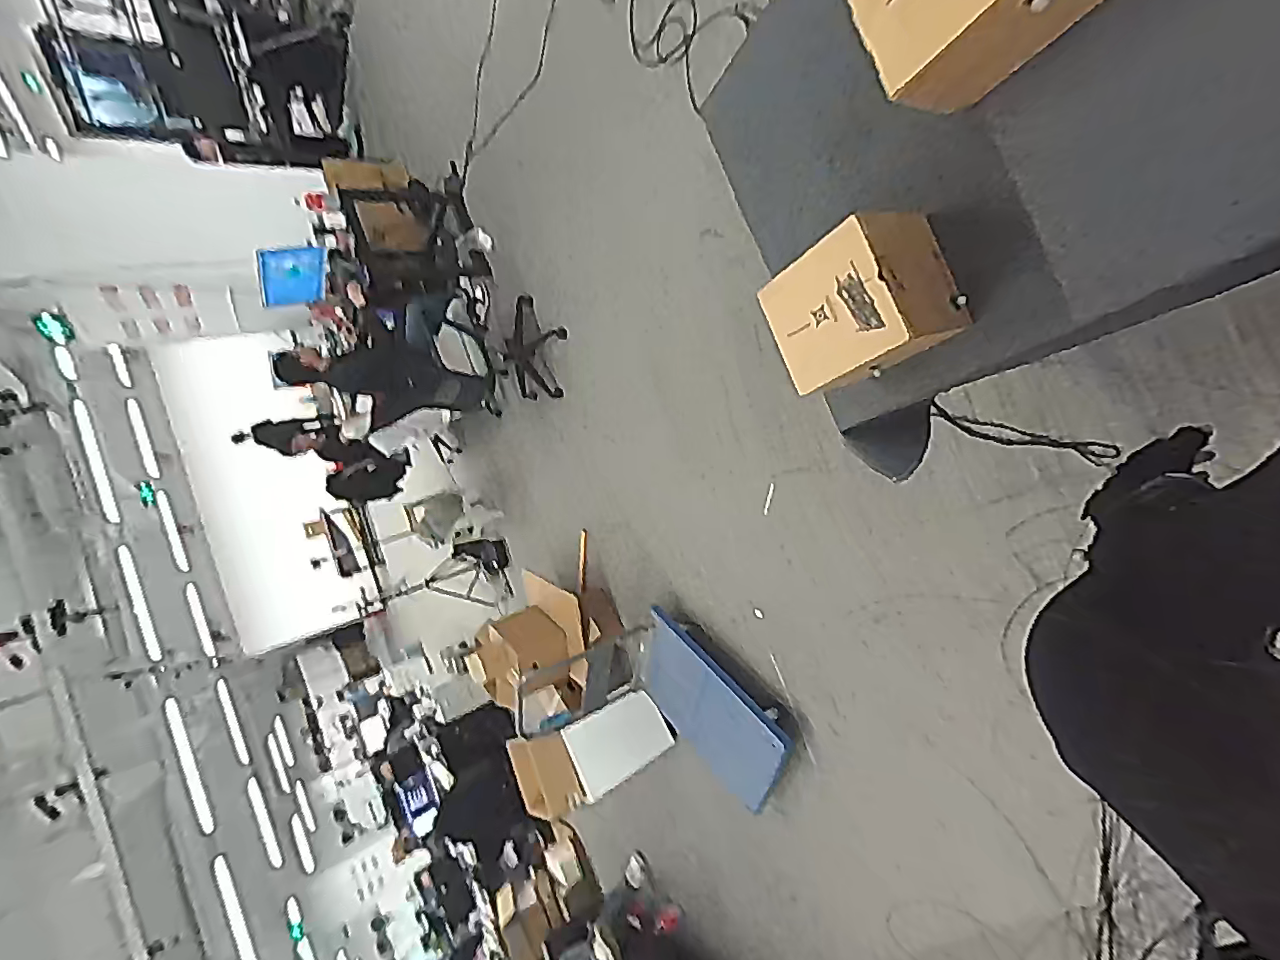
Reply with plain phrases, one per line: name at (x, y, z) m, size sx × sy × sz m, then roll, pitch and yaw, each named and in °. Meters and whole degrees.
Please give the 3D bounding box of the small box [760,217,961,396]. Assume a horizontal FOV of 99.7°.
small box at (0.307, -0.237, 0.745) m, size 0.179 × 0.176 × 0.168 m, roll -29°, pitch 81°, yaw 55°

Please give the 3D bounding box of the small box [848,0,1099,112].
small box at (0.347, -0.524, 0.558) m, size 0.179 × 0.176 × 0.168 m, roll -25°, pitch 85°, yaw 55°
